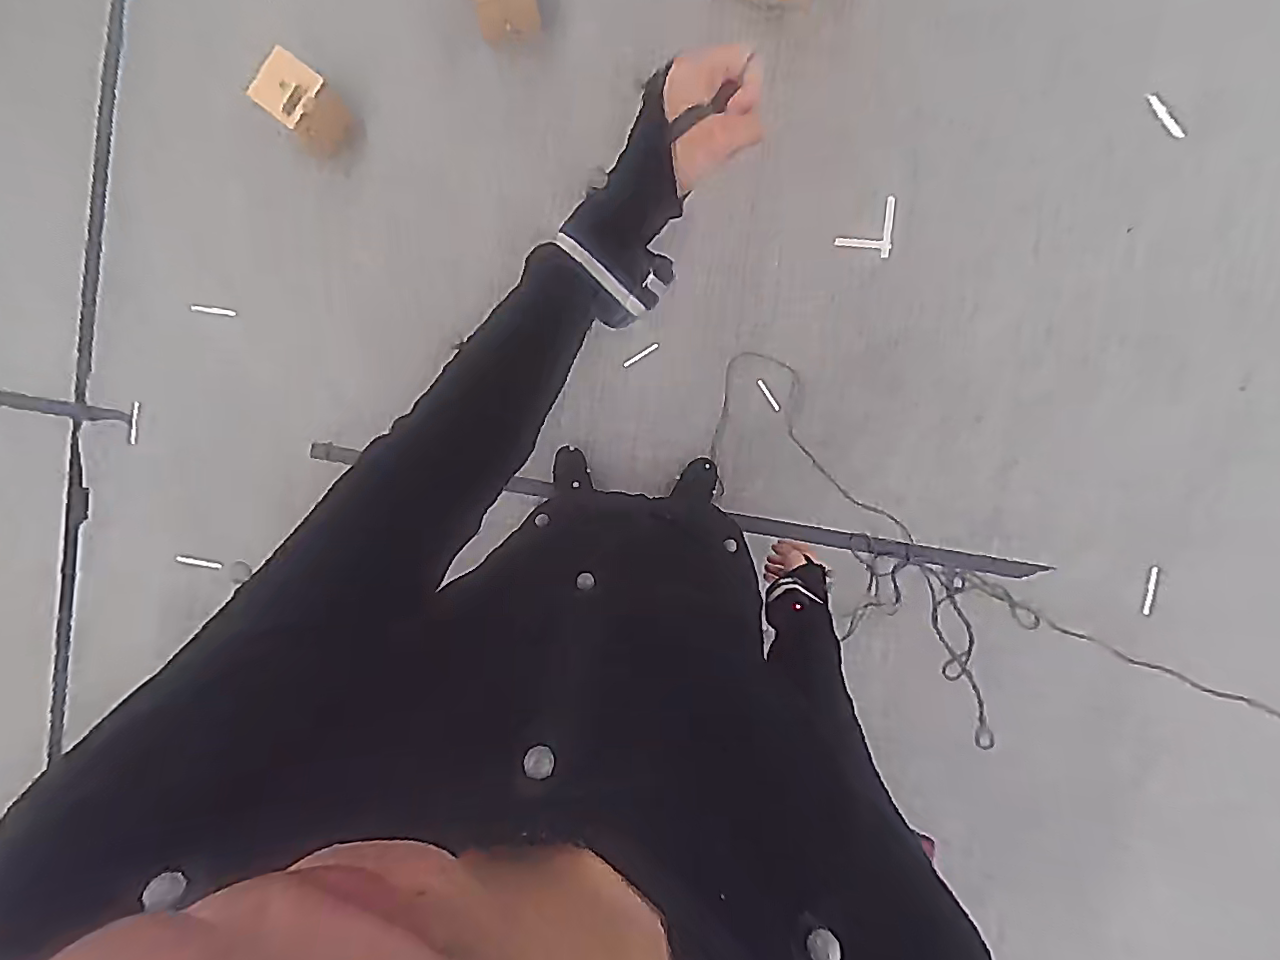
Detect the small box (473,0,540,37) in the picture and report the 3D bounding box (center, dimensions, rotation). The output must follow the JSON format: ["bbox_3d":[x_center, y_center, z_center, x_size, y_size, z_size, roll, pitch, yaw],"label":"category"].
[{"bbox_3d":[-0.387,-1.404,1.519,0.168,0.176,0.179,-6,92,4],"label":"small box"}]
